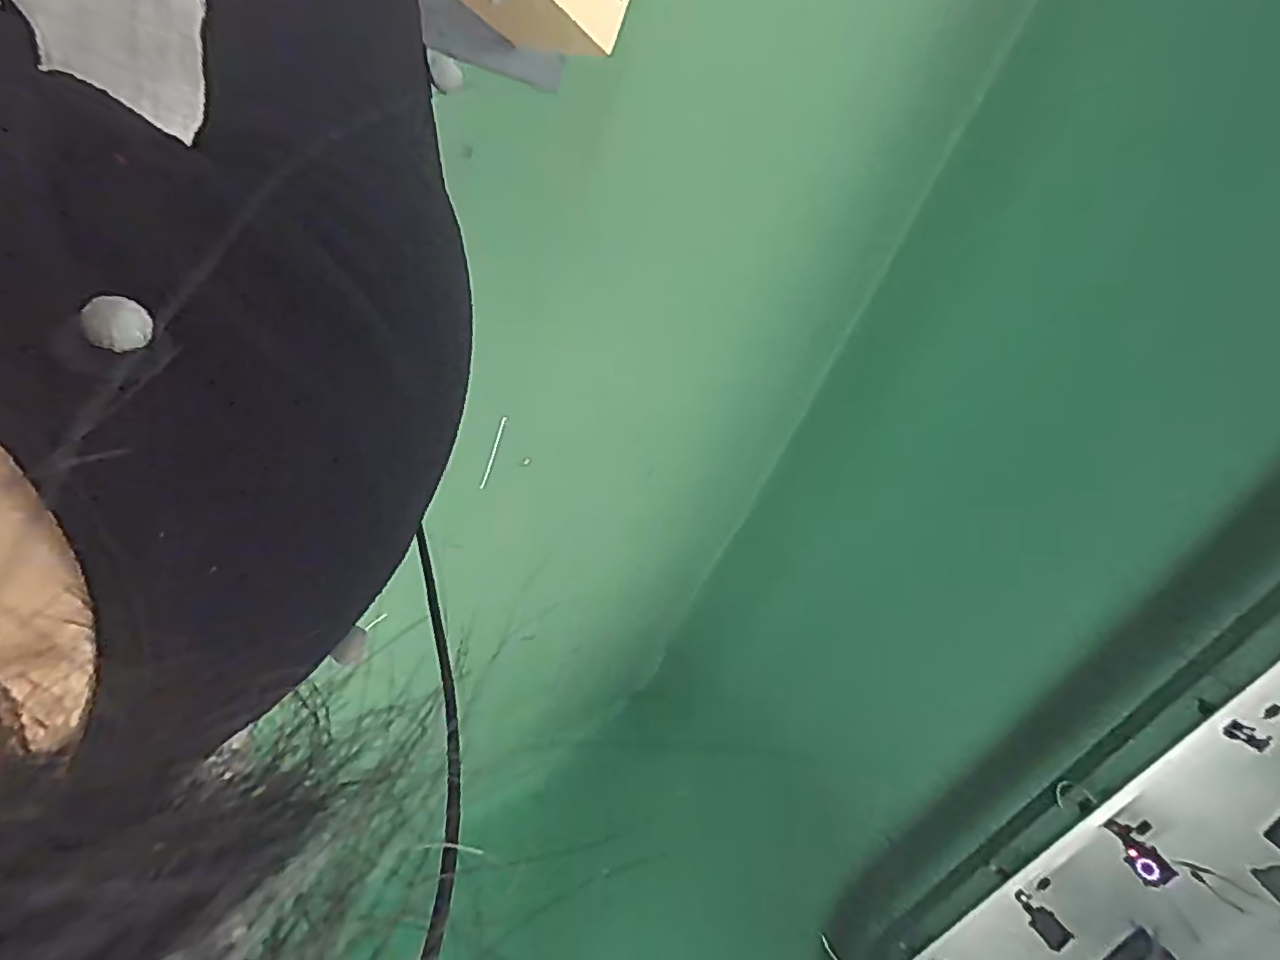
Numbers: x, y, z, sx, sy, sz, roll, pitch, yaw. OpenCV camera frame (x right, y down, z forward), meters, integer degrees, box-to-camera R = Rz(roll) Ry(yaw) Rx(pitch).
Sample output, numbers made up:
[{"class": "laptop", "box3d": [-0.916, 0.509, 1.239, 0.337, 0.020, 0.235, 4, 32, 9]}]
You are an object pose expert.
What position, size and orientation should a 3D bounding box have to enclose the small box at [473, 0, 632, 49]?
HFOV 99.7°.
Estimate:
[{"class": "small box", "box3d": [-0.104, -0.560, 0.523, 0.179, 0.176, 0.168, 2, 118, -52]}]
